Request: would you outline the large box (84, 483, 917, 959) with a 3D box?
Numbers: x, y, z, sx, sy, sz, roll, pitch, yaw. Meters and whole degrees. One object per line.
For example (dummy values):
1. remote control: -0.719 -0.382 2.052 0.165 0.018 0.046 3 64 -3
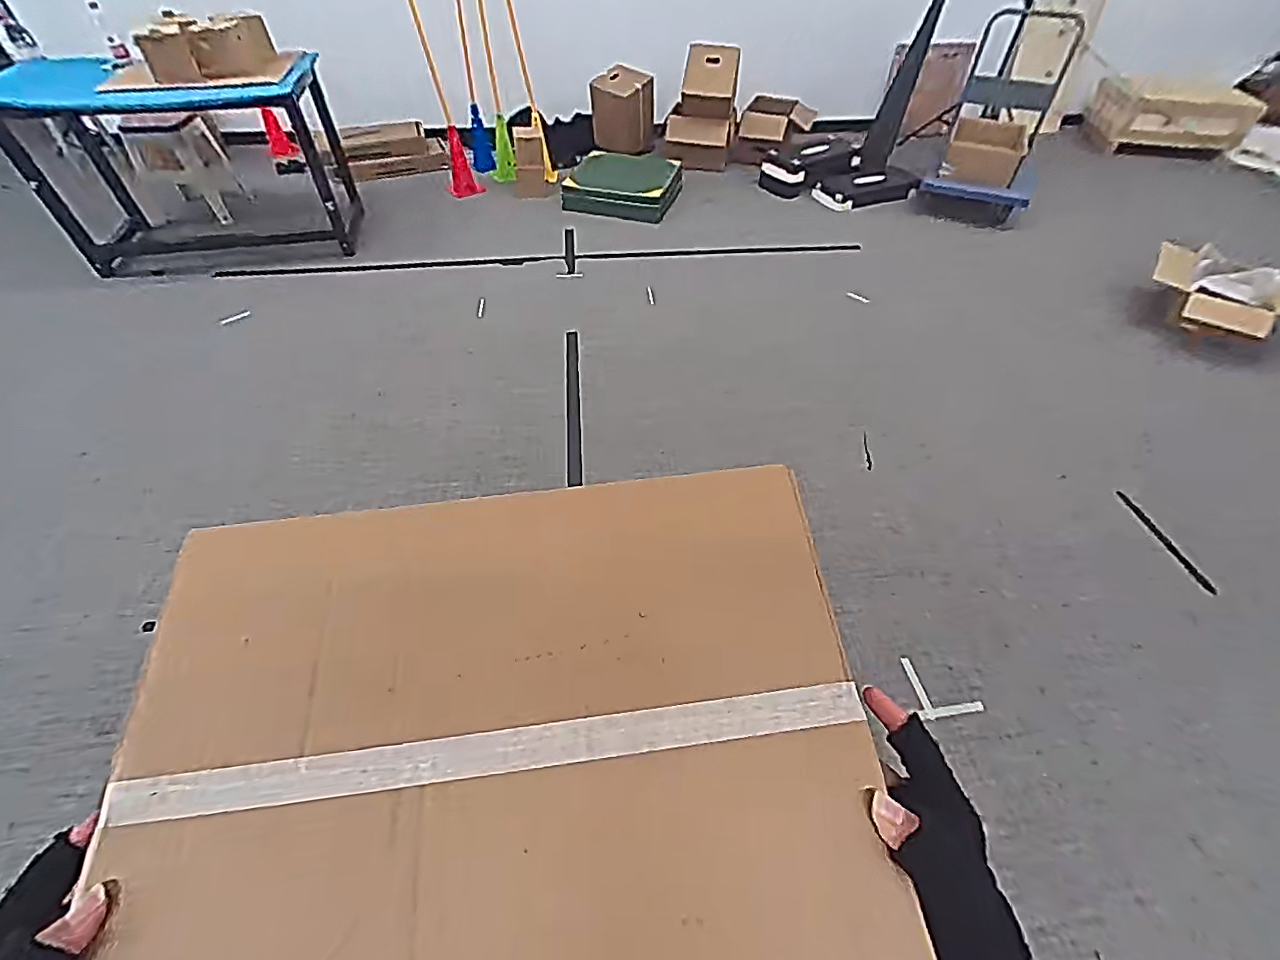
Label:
1. large box: -0.075 0.228 0.433 0.408 0.320 0.320 -6 61 -3
